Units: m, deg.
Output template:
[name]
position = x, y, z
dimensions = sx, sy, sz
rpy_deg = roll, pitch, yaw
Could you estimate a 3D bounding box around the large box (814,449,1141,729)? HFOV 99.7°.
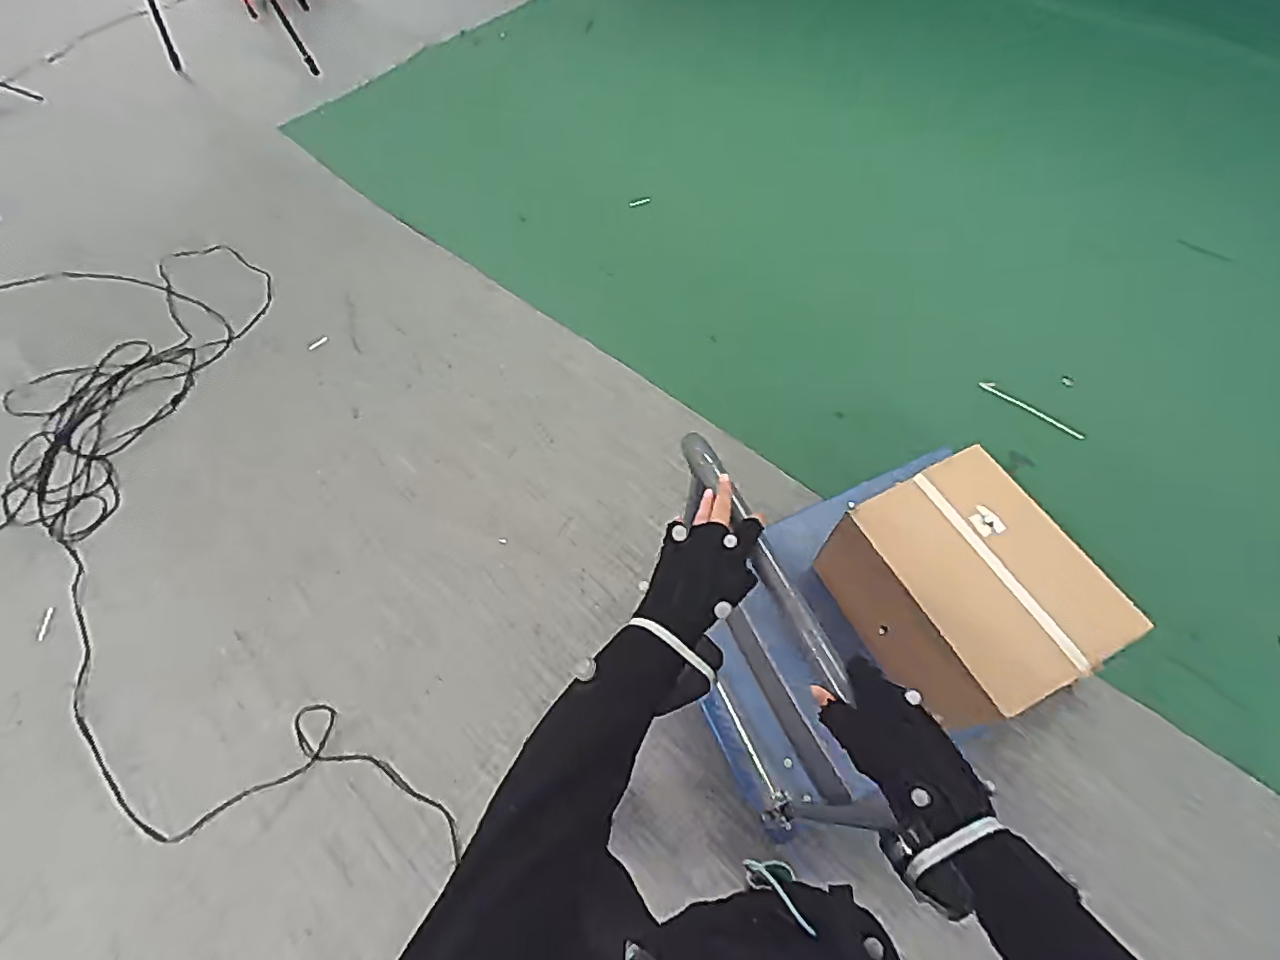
[large box]
position = 0.619, 0.223, 1.086
dimensions = 0.320, 0.320, 0.408
rpy_deg = -24, 62, -10
